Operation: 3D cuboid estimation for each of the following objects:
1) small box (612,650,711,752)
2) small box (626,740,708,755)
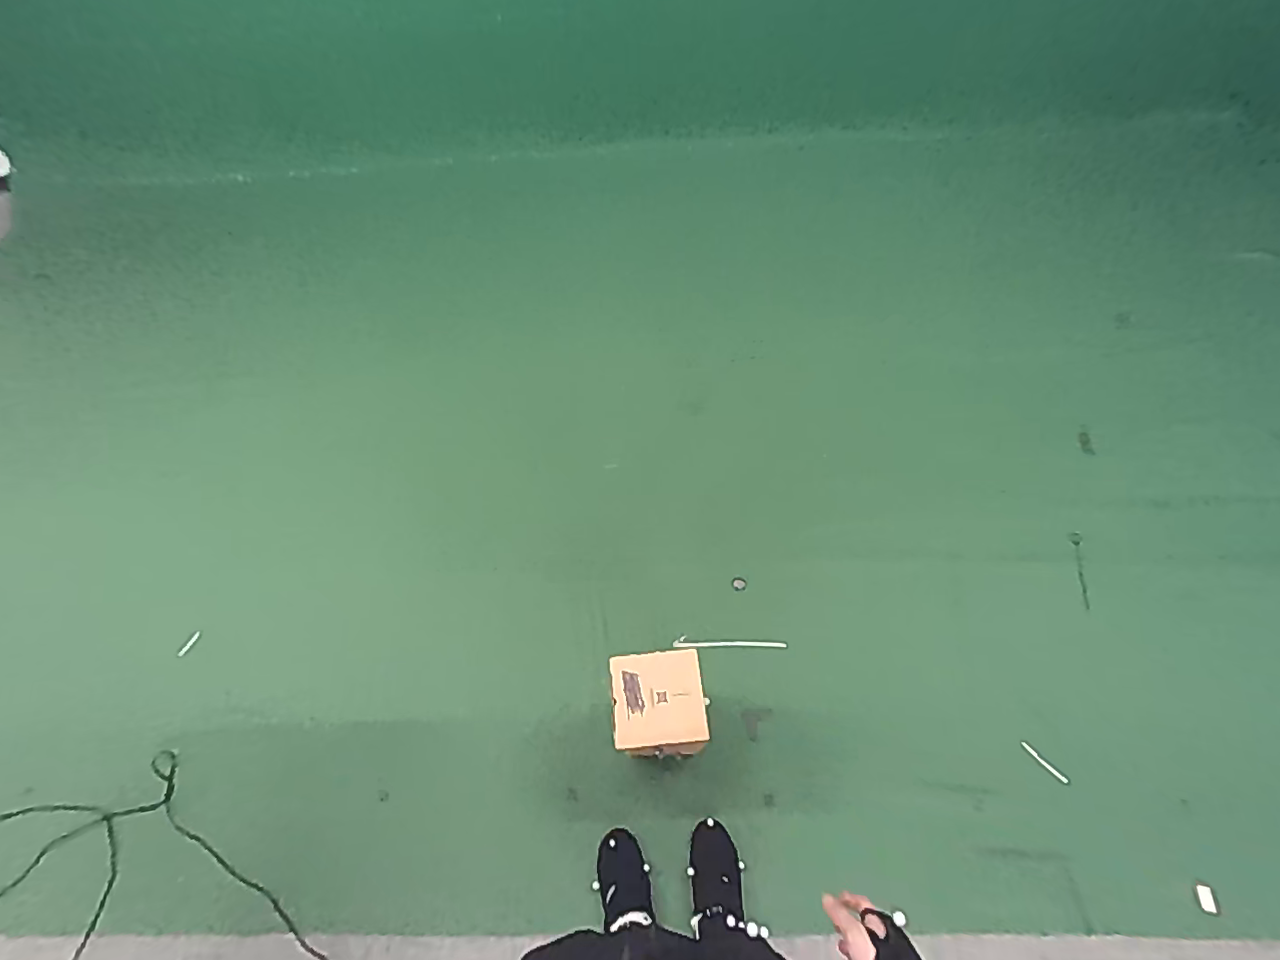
[{"bbox_3d":[0.043,0.450,1.093,0.179,0.176,0.168,-6,62,0],"label":"small box"},{"bbox_3d":[0.057,0.531,1.235,0.179,0.176,0.168,-5,61,2],"label":"small box"}]
